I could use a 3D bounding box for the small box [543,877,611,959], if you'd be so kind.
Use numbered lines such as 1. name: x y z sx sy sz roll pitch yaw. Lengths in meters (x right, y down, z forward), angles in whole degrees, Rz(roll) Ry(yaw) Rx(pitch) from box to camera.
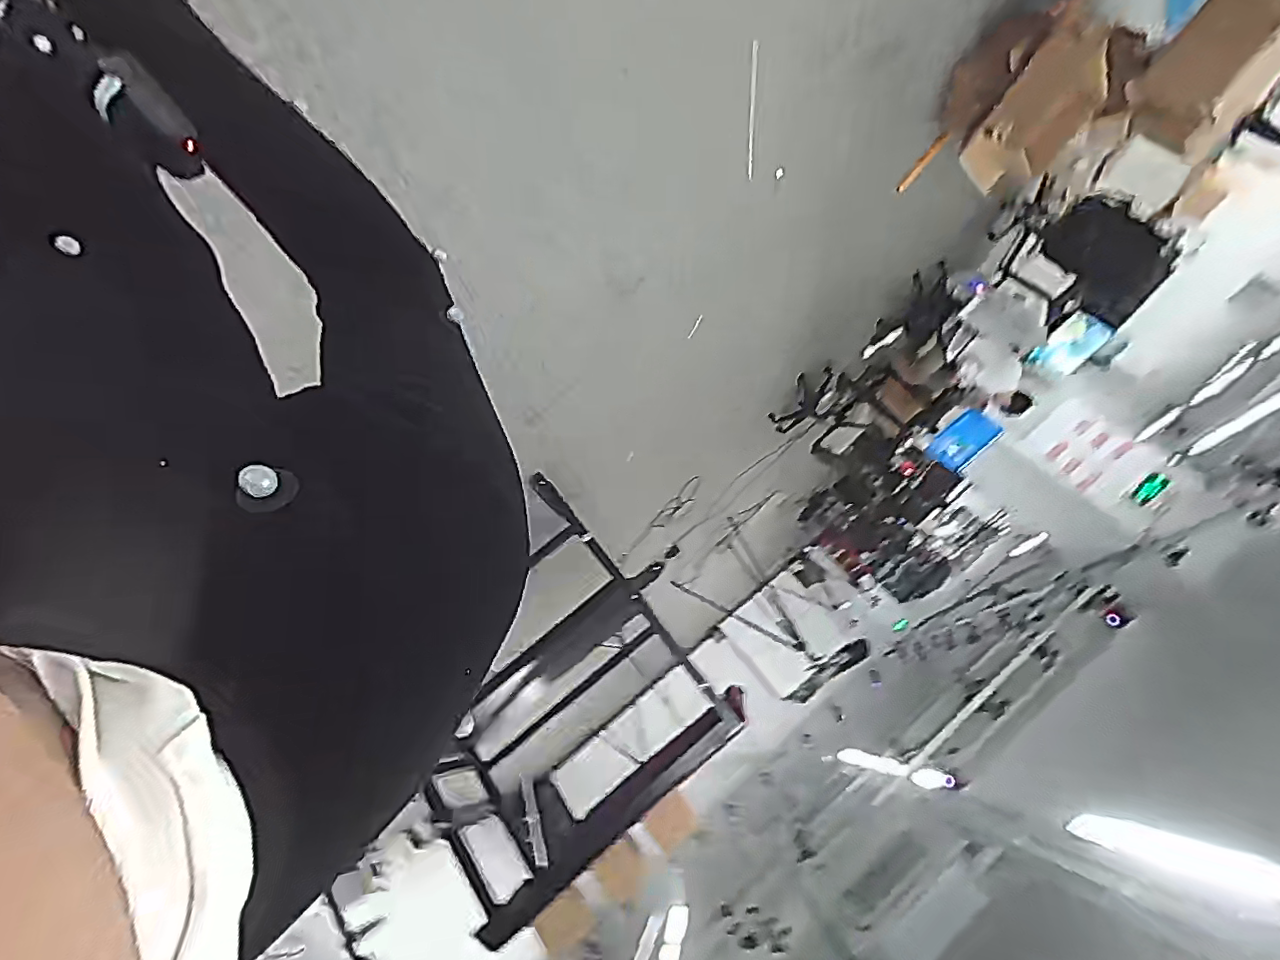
1. small box: -0.235 1.632 2.028 0.179 0.176 0.168 -38 155 -12

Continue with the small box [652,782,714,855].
1. small box: 0.167 1.300 2.095 0.179 0.176 0.168 -37 157 -10
